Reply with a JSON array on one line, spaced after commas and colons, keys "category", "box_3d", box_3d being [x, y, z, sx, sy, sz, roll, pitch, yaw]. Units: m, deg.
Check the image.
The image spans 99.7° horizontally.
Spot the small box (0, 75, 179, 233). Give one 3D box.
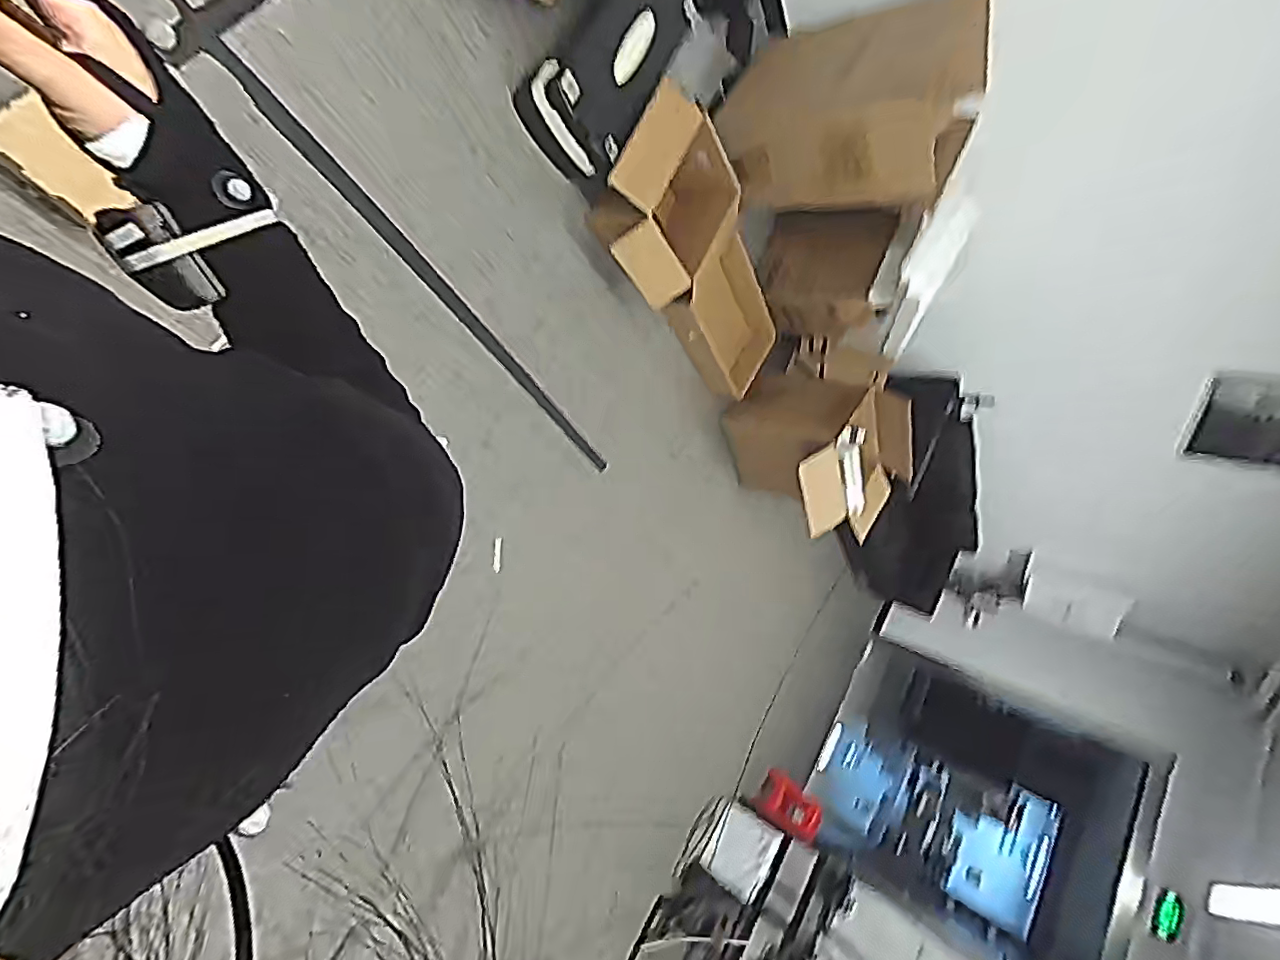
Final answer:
[{"category": "small box", "box_3d": [-0.962, -0.551, 0.939, 0.179, 0.176, 0.168, -56, 138, -17]}]

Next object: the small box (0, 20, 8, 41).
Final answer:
[{"category": "small box", "box_3d": [-0.412, -0.291, 0.213, 0.179, 0.176, 0.168, -20, 126, -40]}]
